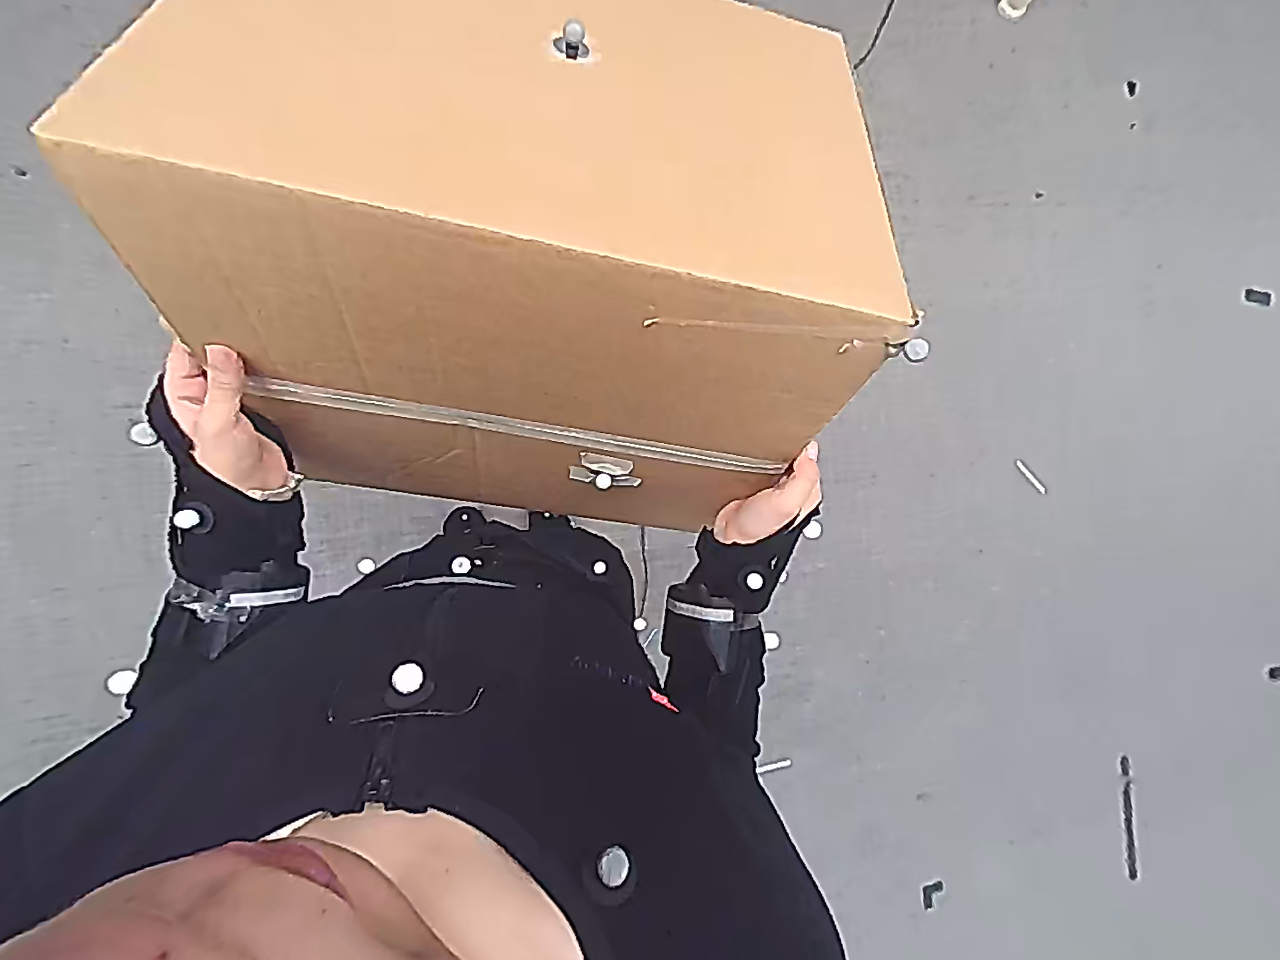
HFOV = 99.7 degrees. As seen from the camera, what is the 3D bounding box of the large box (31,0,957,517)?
[{"bbox_3d":[-0.064,-0.188,0.431,0.408,0.320,0.320,7,63,-10],"label":"large box"}]
